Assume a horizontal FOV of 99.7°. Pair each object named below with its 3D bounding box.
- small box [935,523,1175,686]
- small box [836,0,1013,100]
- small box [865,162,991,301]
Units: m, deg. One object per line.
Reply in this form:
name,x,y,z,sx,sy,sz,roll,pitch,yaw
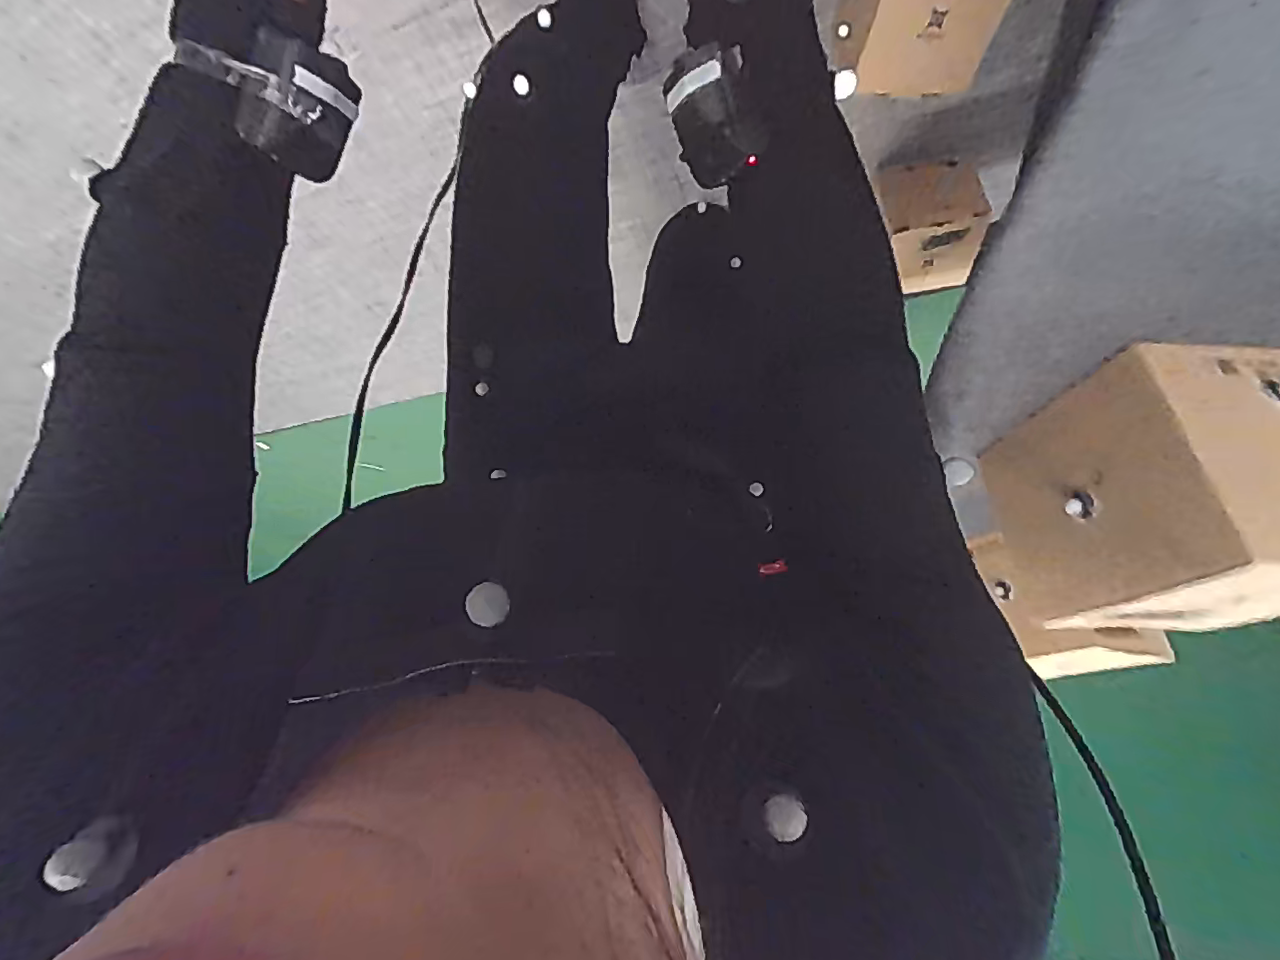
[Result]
small box,0.533,0.169,0.718,0.179,0.176,0.168,13,149,-24
small box,0.374,-0.648,0.719,0.168,0.176,0.179,0,152,-1
small box,0.544,-0.484,1.050,0.168,0.176,0.179,-6,154,13
